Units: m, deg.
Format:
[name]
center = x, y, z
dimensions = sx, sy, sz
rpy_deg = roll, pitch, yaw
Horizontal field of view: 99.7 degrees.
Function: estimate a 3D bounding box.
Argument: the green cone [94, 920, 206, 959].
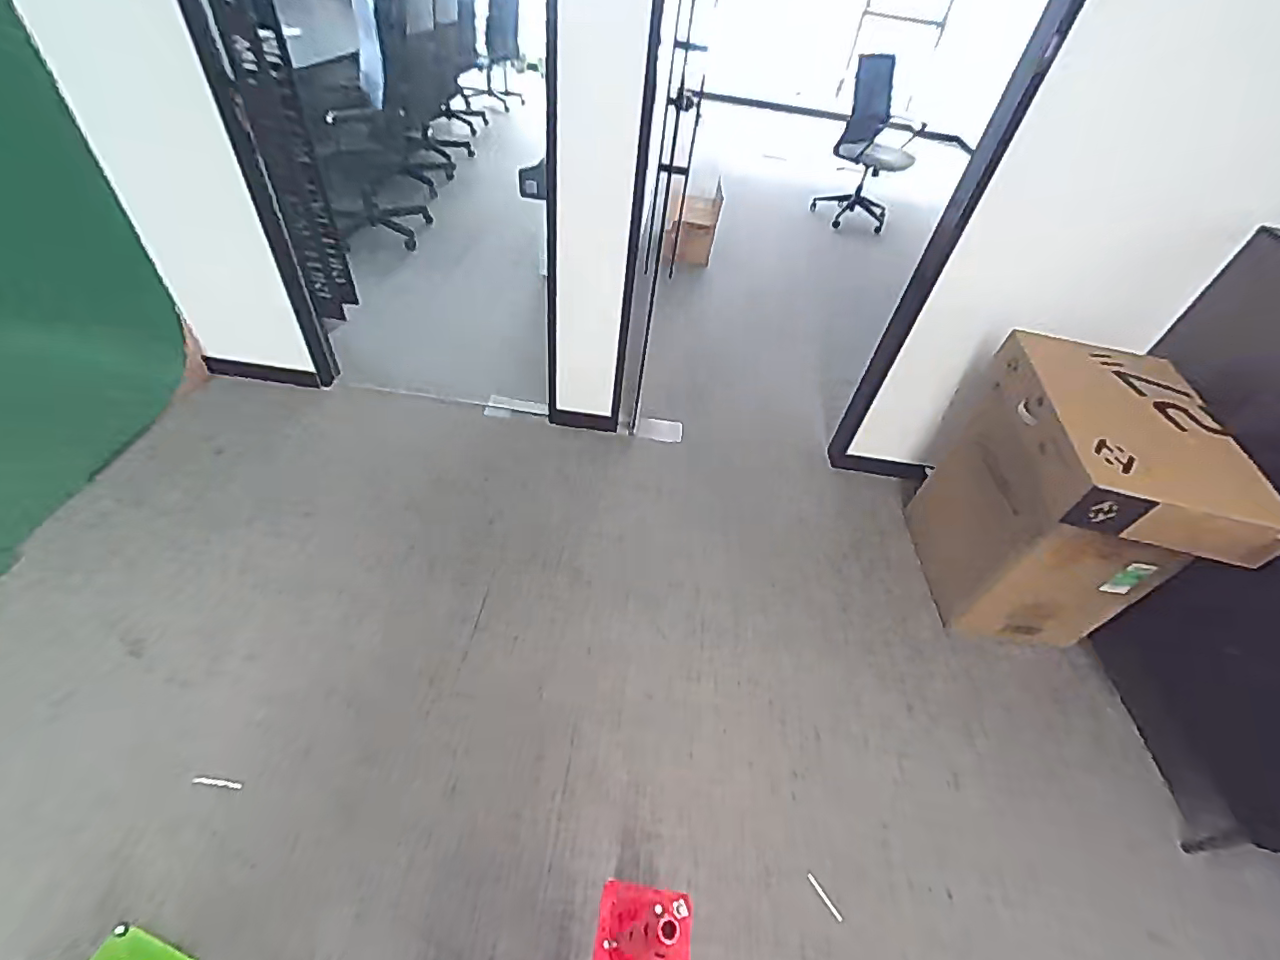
[green cone]
center = -0.929, 0.837, 0.867
dimensions = 0.202, 0.368, 0.200
rpy_deg = 18, 45, 8
